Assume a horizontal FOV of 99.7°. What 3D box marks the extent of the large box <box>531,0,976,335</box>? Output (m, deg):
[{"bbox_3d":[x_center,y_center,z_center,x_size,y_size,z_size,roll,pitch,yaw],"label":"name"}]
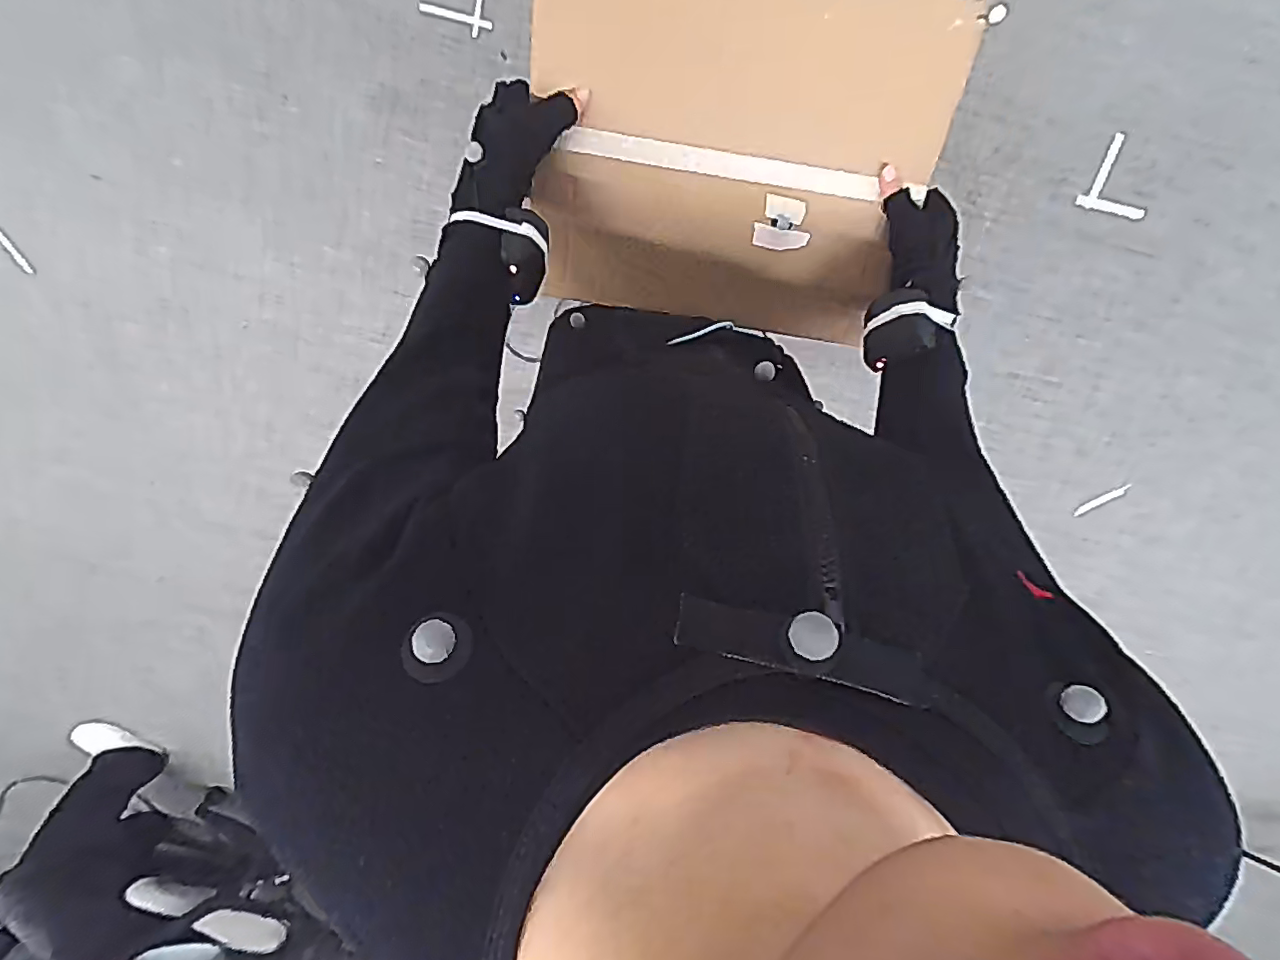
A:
[{"bbox_3d":[0.095,-0.398,0.687,0.408,0.320,0.320,9,119,-3],"label":"large box"}]
